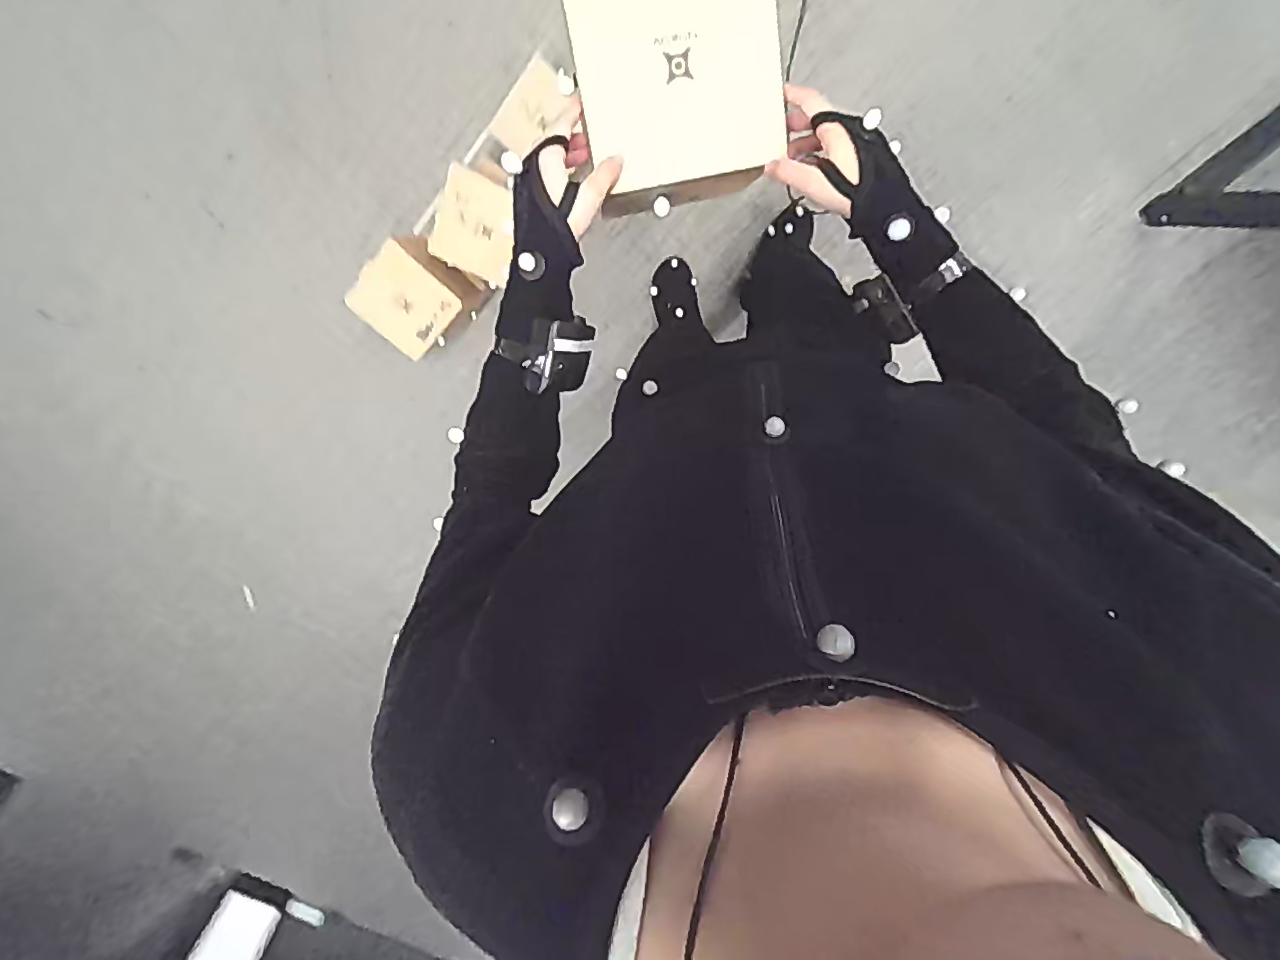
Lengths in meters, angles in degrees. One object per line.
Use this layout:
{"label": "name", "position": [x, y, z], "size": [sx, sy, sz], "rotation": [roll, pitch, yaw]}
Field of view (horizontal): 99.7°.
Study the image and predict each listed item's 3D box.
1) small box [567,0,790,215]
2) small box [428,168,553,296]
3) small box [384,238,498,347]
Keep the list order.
{"label": "small box", "position": [0.031, -0.357, 0.501], "size": [0.168, 0.176, 0.179], "rotation": [-10, 107, 1]}
{"label": "small box", "position": [-0.287, -0.491, 1.073], "size": [0.179, 0.176, 0.168], "rotation": [24, 114, -10]}
{"label": "small box", "position": [-0.455, -0.447, 1.273], "size": [0.168, 0.176, 0.179], "rotation": [41, 110, -17]}
